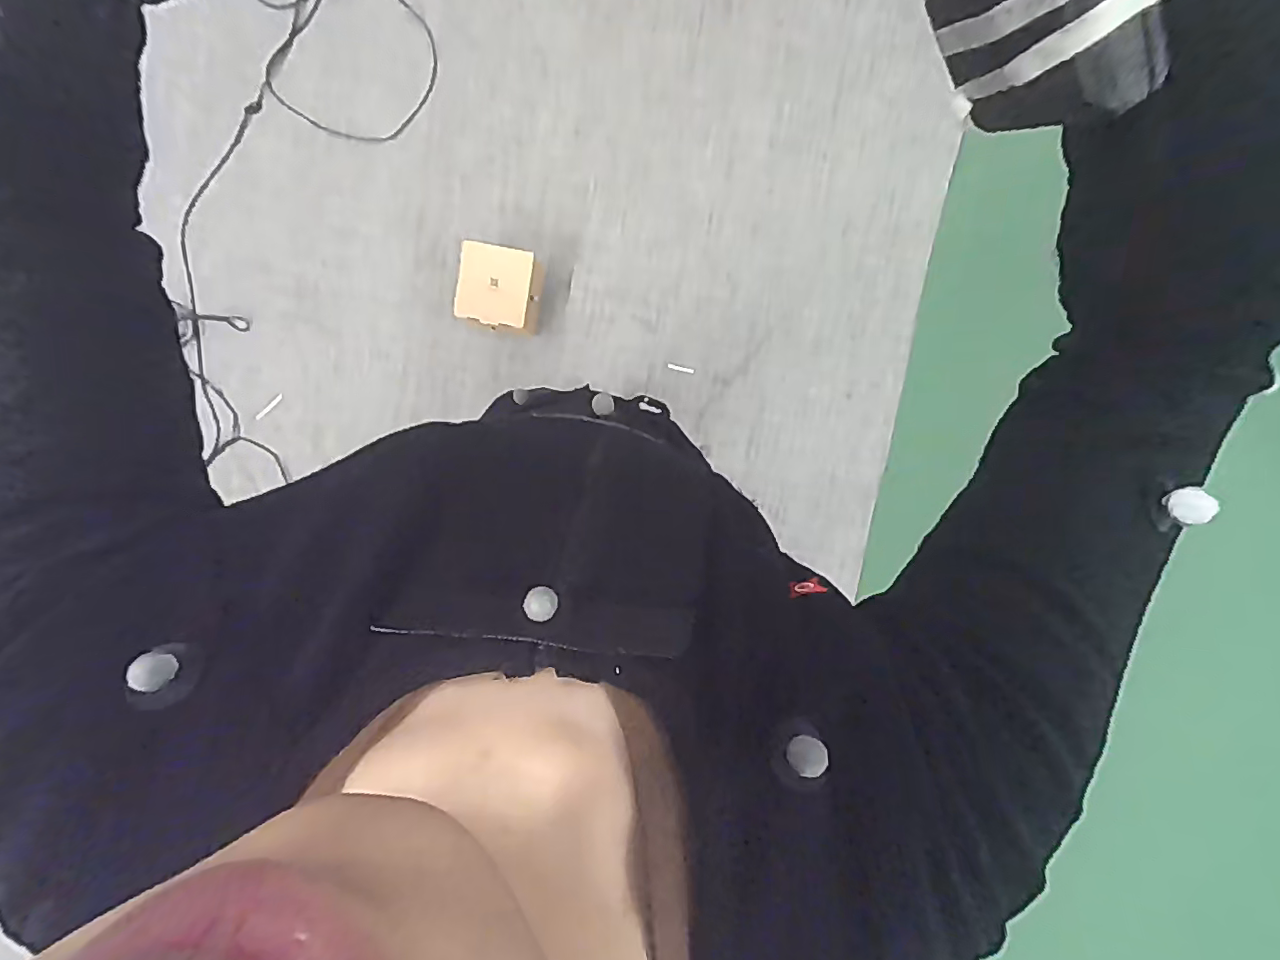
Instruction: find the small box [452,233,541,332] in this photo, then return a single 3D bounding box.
[{"bbox_3d":[-0.344,-0.475,1.327,0.168,0.176,0.179,10,97,-3],"label":"small box"}]
